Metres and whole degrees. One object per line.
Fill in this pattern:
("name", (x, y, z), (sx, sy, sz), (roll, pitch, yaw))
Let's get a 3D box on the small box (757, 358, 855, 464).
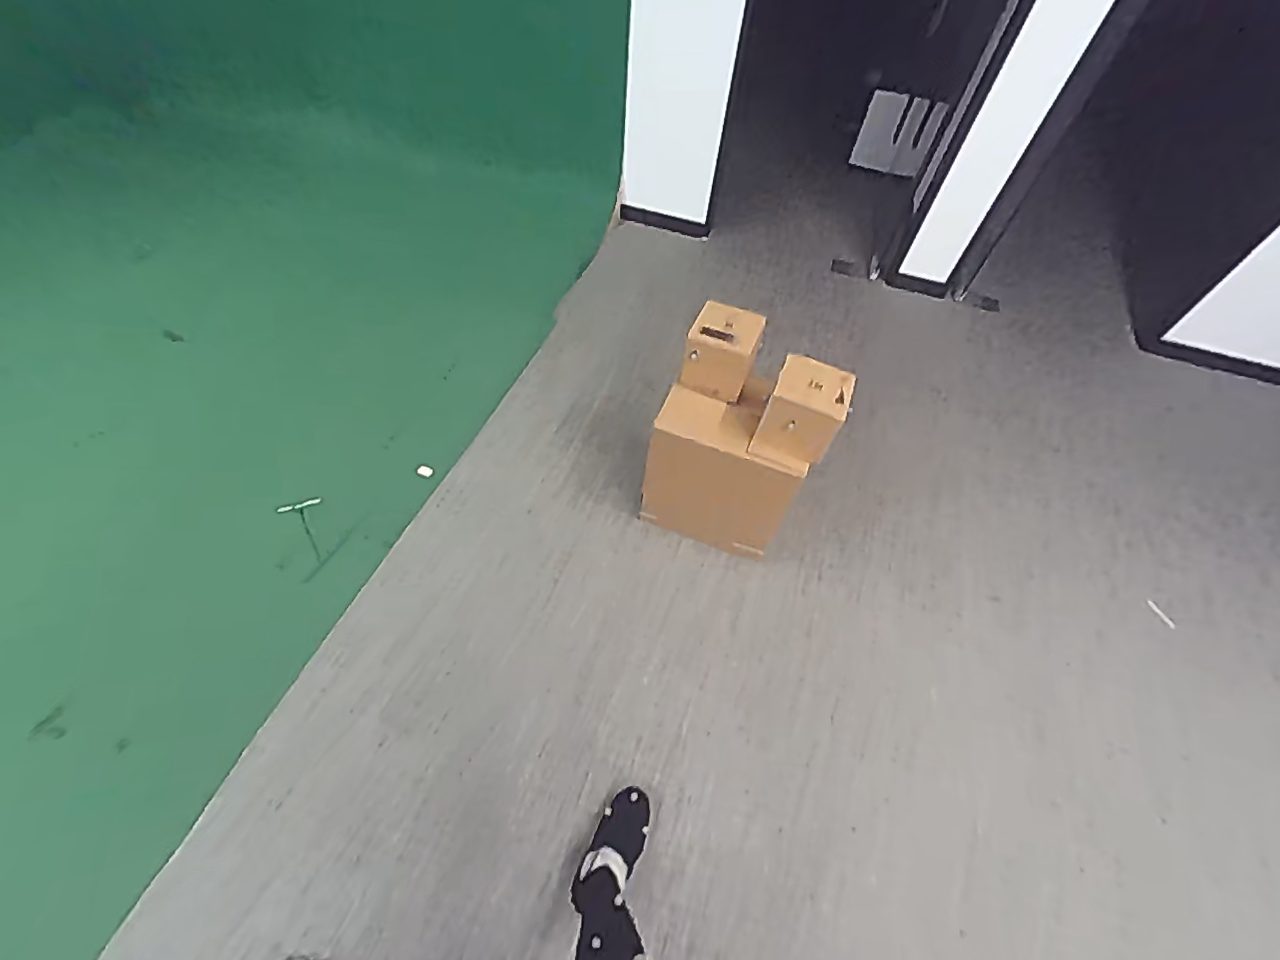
("small box", (0.404, -0.166, 1.337), (0.179, 0.176, 0.168), (21, 56, 10))
